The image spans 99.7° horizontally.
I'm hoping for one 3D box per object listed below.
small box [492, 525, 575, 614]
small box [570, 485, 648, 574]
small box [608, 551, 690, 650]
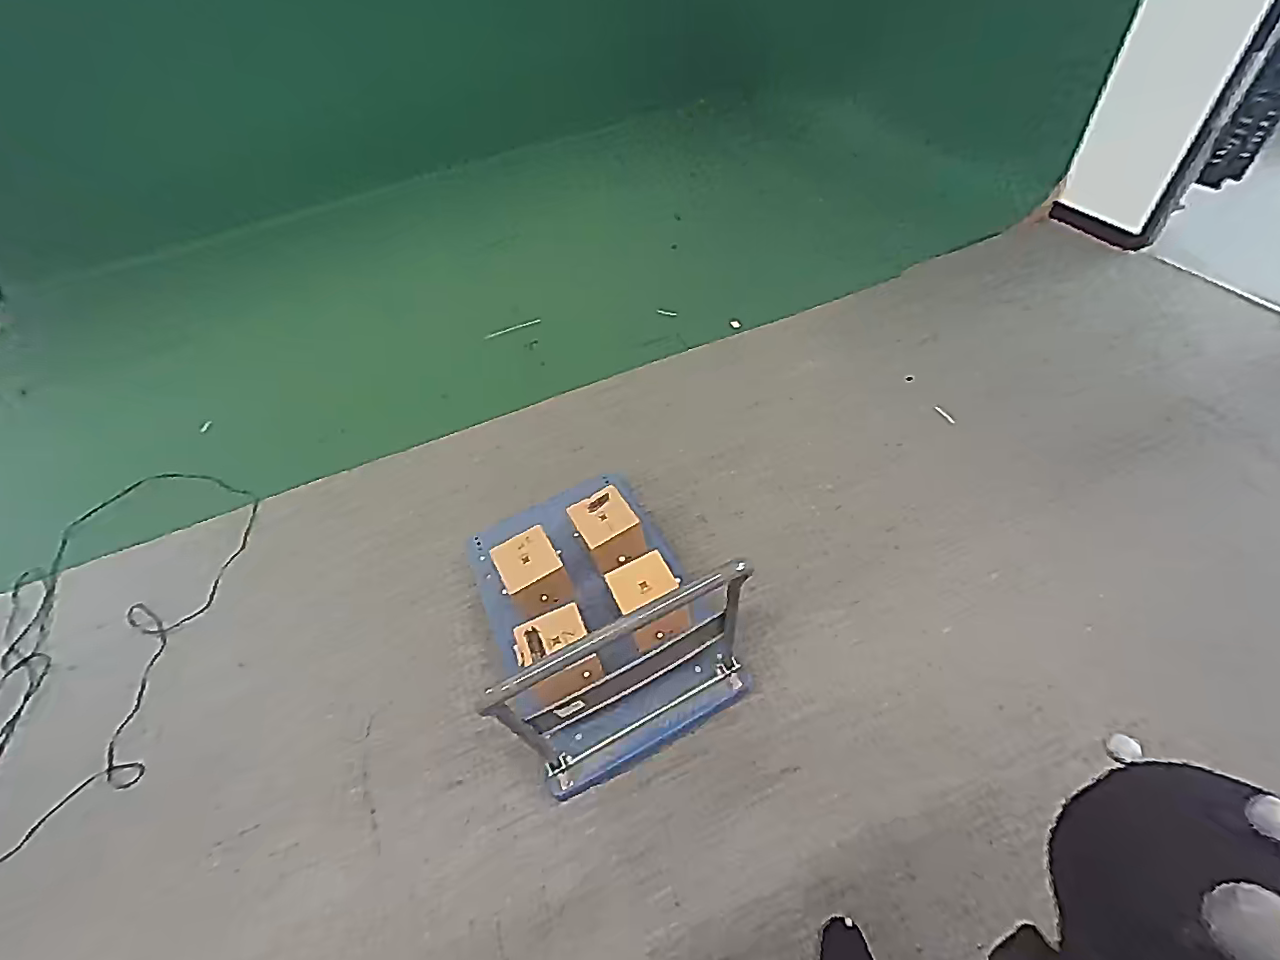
[{"bbox_3d":[-0.309,0.272,1.596,0.168,0.176,0.179,-27,52,-14],"label":"small box"},{"bbox_3d":[-0.093,0.155,1.654,0.168,0.176,0.179,-29,53,-12],"label":"small box"},{"bbox_3d":[0.027,0.334,1.491,0.168,0.176,0.179,-24,52,-11],"label":"small box"}]
